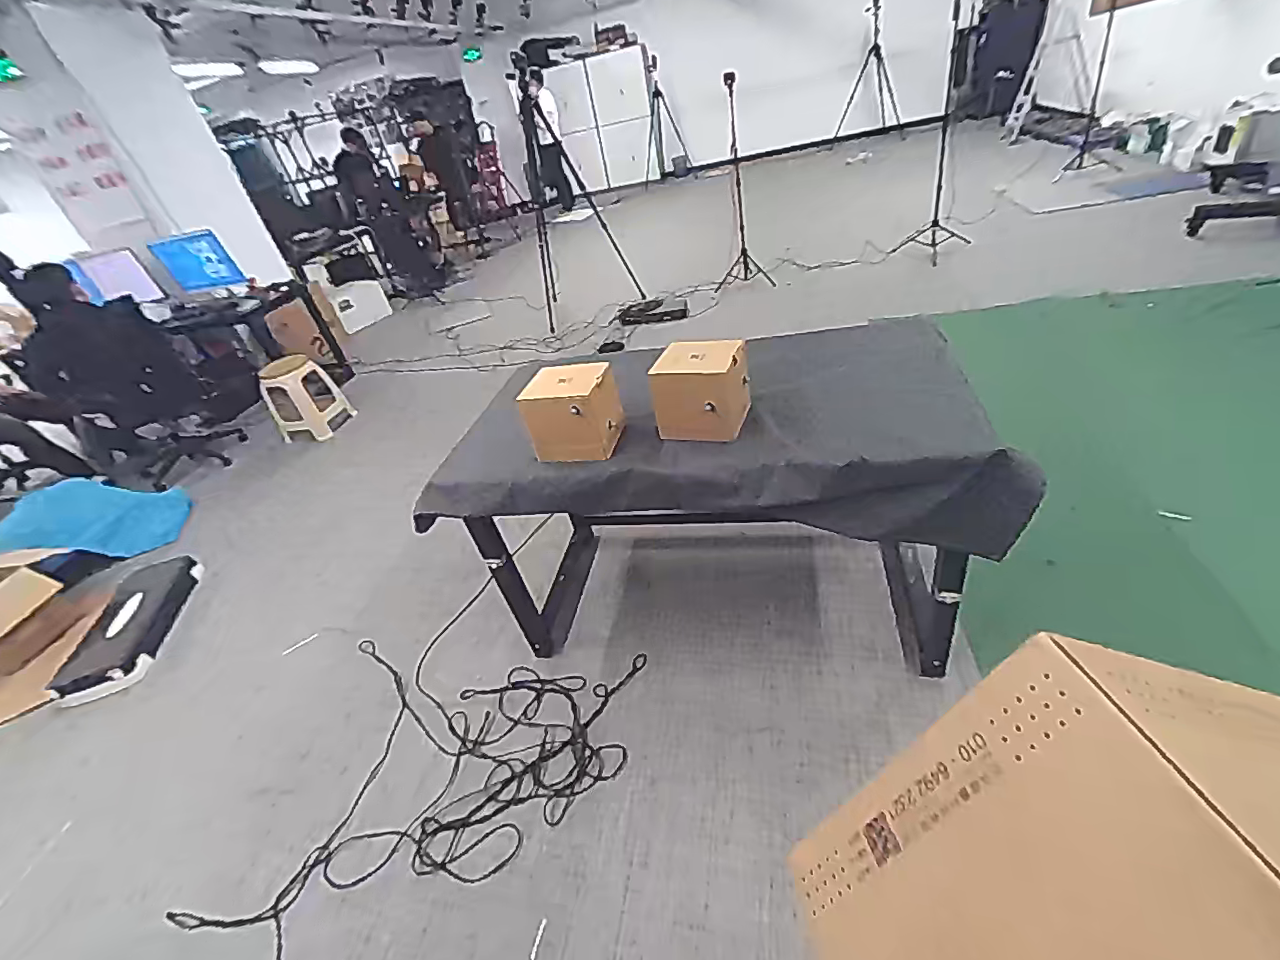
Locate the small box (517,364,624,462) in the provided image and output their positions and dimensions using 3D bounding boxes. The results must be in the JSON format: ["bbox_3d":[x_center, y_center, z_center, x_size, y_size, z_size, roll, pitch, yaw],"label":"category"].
[{"bbox_3d":[-0.152,-0.152,1.249,0.179,0.176,0.168,-1,36,17],"label":"small box"}]

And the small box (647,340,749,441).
[{"bbox_3d":[0.138,-0.199,1.210,0.179,0.176,0.168,3,37,25],"label":"small box"}]
